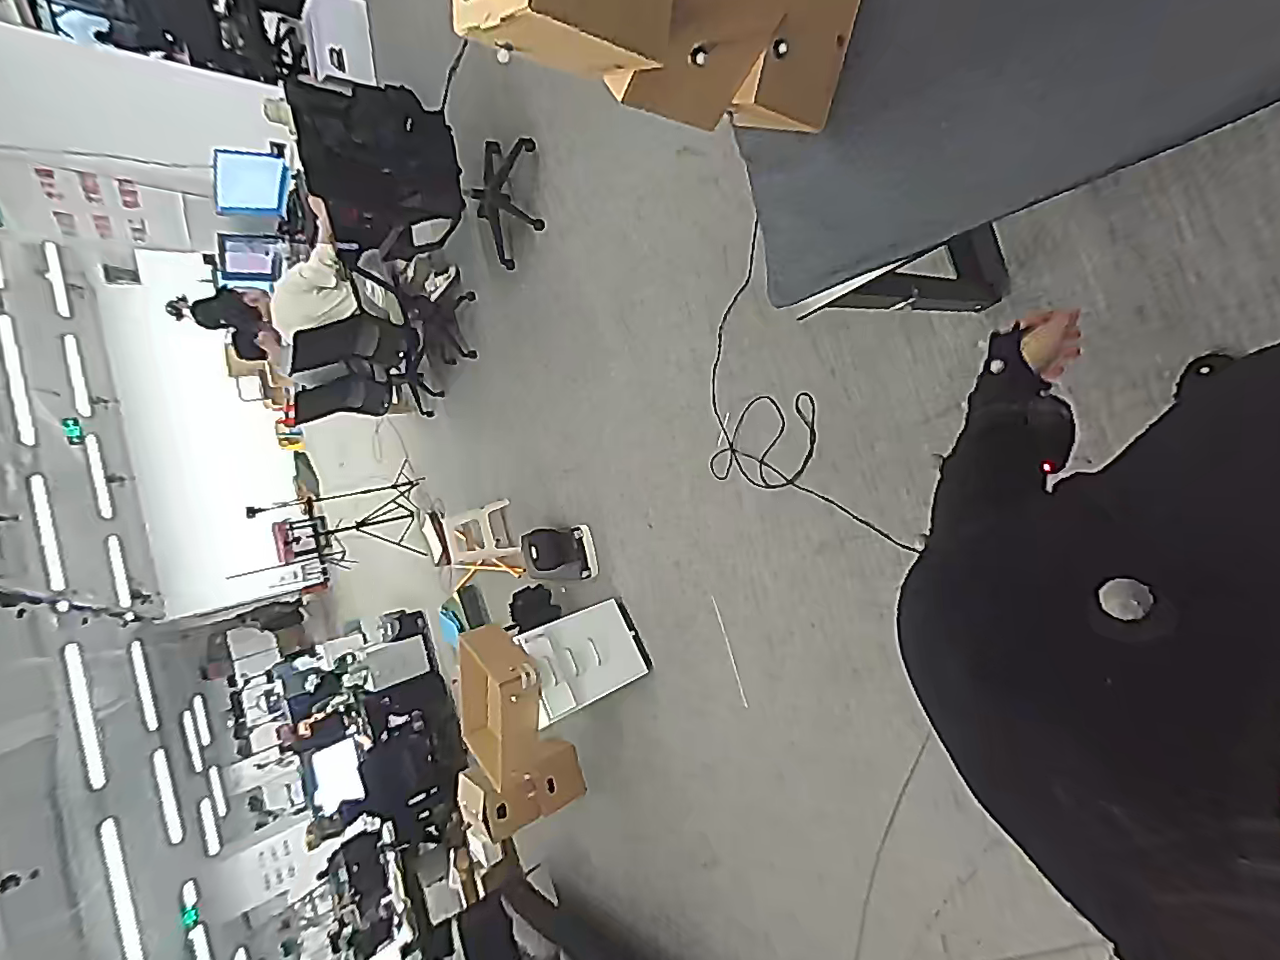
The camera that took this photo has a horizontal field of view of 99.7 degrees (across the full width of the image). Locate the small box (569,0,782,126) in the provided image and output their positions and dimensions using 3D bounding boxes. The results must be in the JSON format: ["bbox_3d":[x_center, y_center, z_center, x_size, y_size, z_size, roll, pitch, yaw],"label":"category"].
[{"bbox_3d":[0.047,-0.580,0.661,0.179,0.176,0.168,-46,65,48],"label":"small box"}]

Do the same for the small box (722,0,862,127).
[{"bbox_3d":[0.172,-0.614,0.763,0.179,0.176,0.168,37,128,39],"label":"small box"}]
